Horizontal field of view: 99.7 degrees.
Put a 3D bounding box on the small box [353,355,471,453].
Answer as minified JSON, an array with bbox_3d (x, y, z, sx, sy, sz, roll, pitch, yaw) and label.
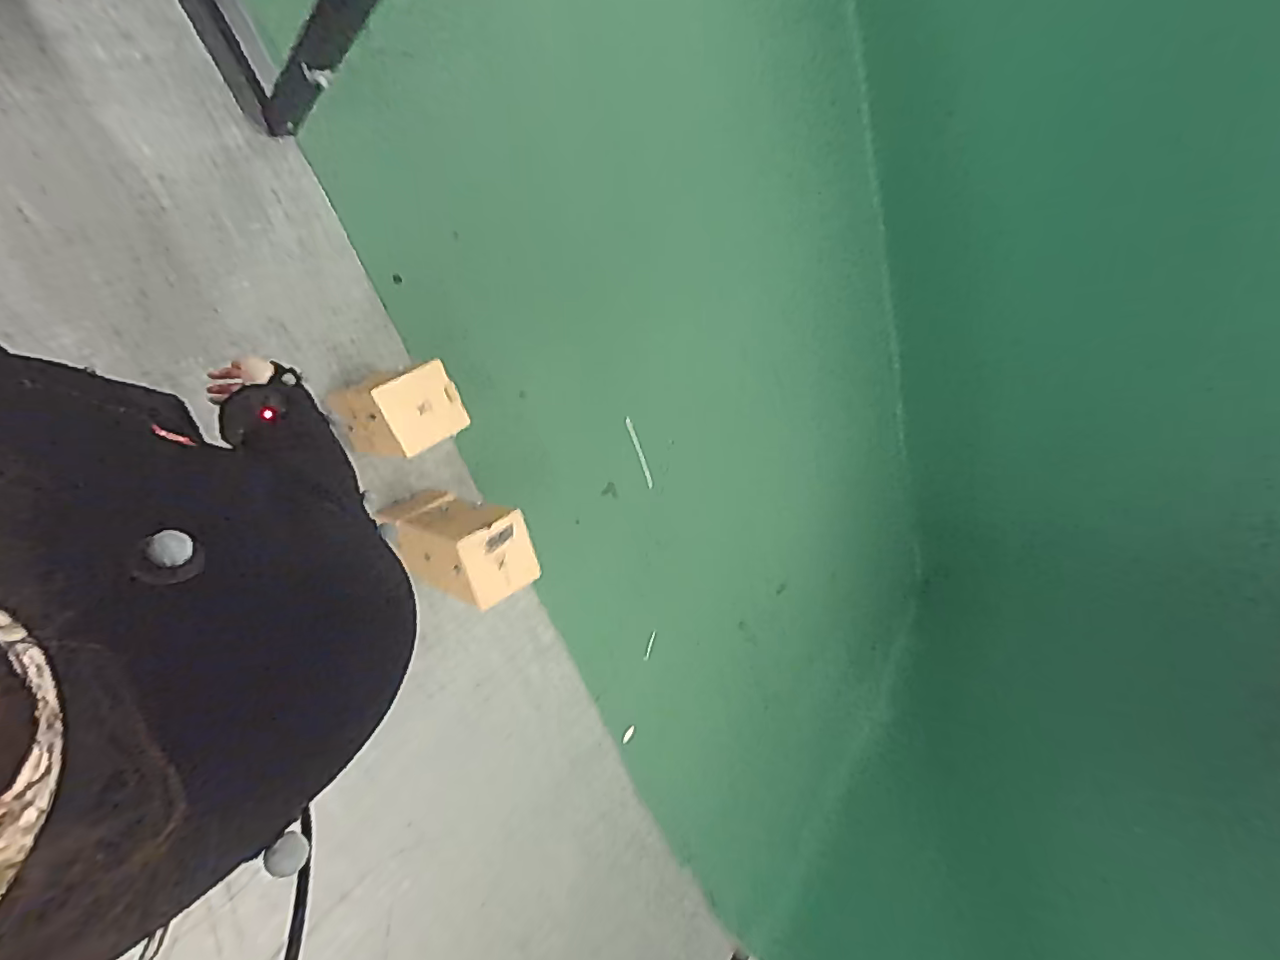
[{"bbox_3d":[-0.537,-0.175,1.259,0.179,0.176,0.168,-41,121,-35],"label":"small box"}]

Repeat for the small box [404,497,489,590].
[{"bbox_3d":[-0.469,0.150,1.365,0.168,0.176,0.179,-26,113,-38],"label":"small box"}]

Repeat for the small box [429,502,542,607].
[{"bbox_3d":[-0.358,0.161,1.245,0.168,0.176,0.179,-30,115,-38],"label":"small box"}]
